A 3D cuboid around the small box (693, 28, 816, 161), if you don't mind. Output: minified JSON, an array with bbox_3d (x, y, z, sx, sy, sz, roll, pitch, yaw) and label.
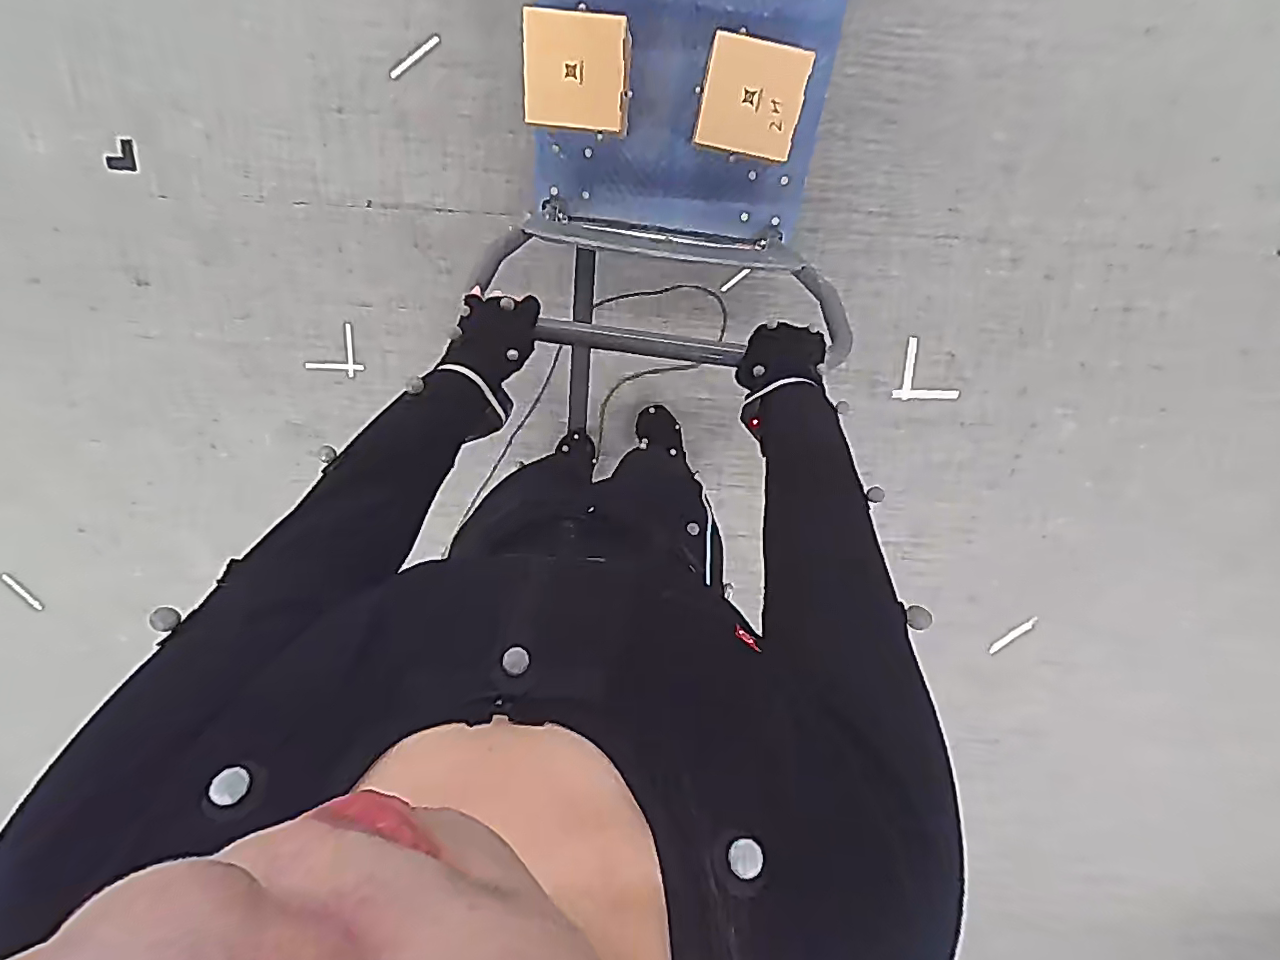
[{"bbox_3d":[0.201,-0.709,1.015,0.179,0.176,0.168,11,119,-3],"label":"small box"}]

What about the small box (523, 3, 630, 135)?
[{"bbox_3d":[-0.113,-0.750,1.005,0.179,0.176,0.168,4,119,-2],"label":"small box"}]
